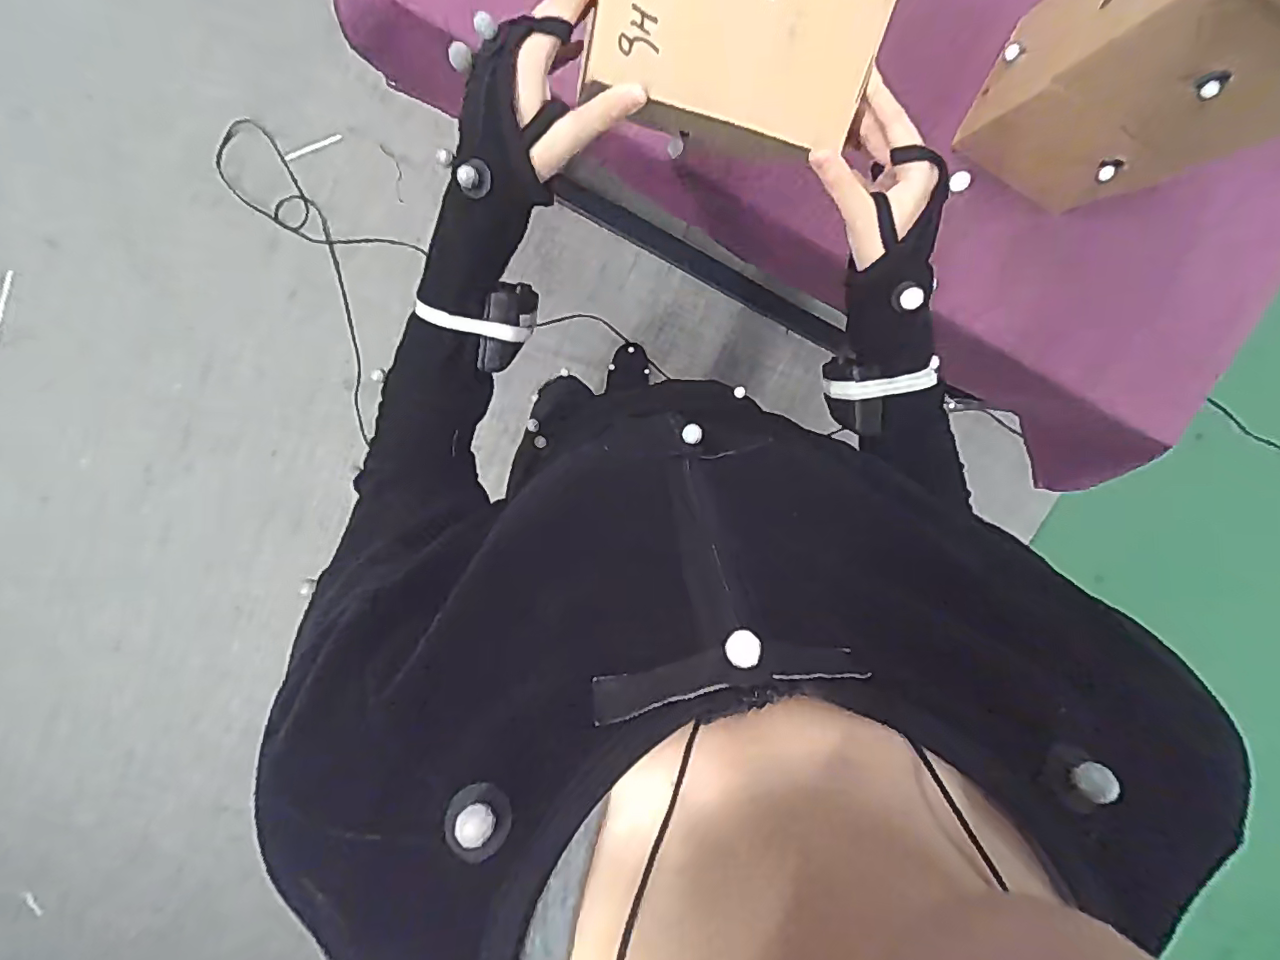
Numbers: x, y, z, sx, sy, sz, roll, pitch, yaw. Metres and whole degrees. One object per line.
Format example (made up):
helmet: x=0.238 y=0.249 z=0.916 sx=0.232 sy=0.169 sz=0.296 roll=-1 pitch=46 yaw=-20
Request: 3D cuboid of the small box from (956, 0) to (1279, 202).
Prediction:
small box: x=0.515 y=-0.443 z=0.611 sx=0.179 sy=0.176 sz=0.168 roll=26 pitch=99 yaw=-9
